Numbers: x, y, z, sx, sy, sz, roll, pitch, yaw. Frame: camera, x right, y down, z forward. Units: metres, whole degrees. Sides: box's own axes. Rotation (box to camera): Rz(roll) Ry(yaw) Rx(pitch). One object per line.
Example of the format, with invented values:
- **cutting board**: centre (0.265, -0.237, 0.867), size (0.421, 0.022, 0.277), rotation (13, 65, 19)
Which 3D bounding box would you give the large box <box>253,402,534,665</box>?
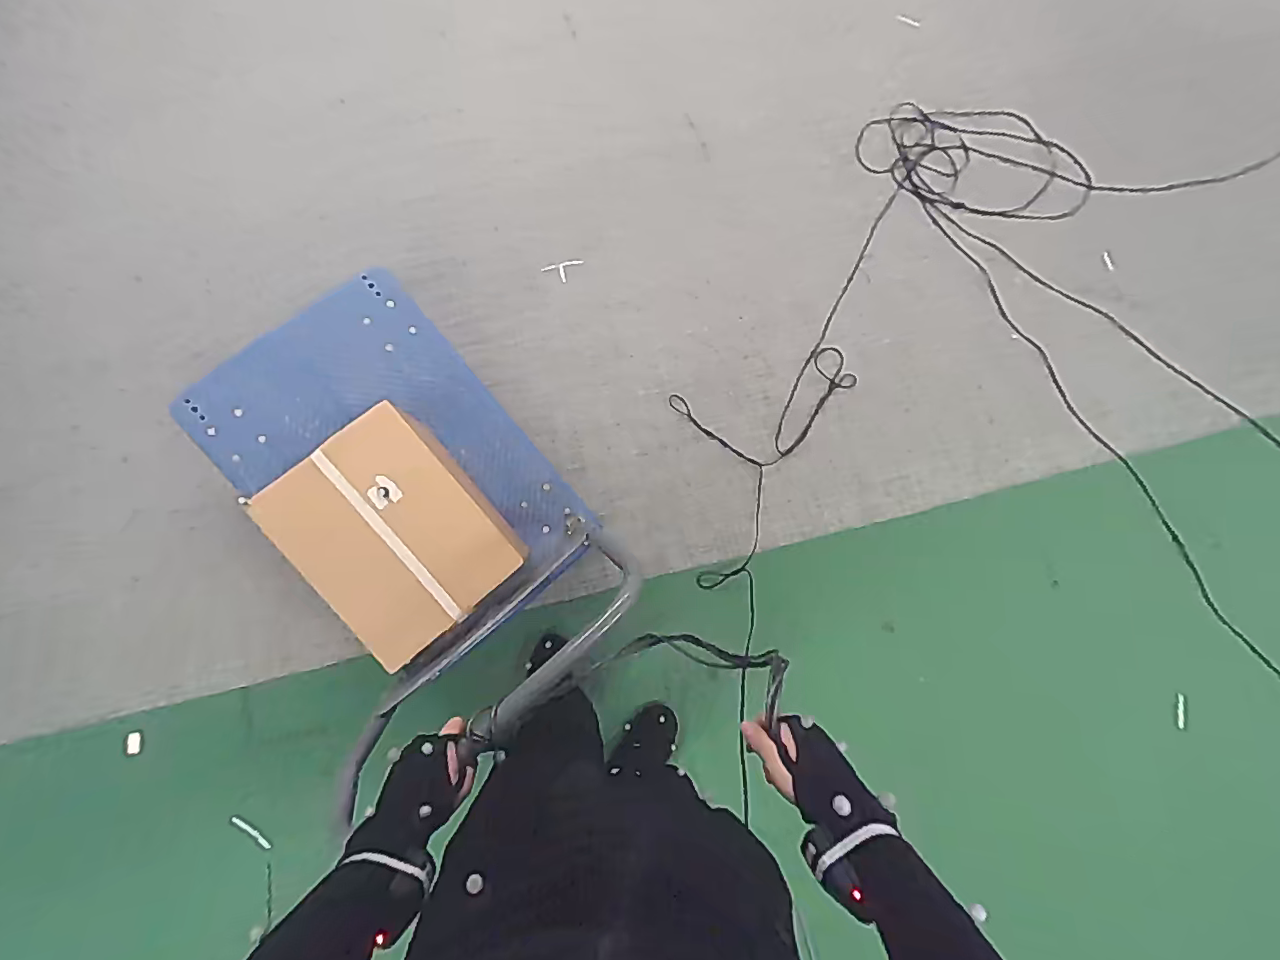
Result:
- **large box**: centre (-0.475, 0.107, 1.147), size (0.320, 0.320, 0.408), rotation (-41, 93, -10)
